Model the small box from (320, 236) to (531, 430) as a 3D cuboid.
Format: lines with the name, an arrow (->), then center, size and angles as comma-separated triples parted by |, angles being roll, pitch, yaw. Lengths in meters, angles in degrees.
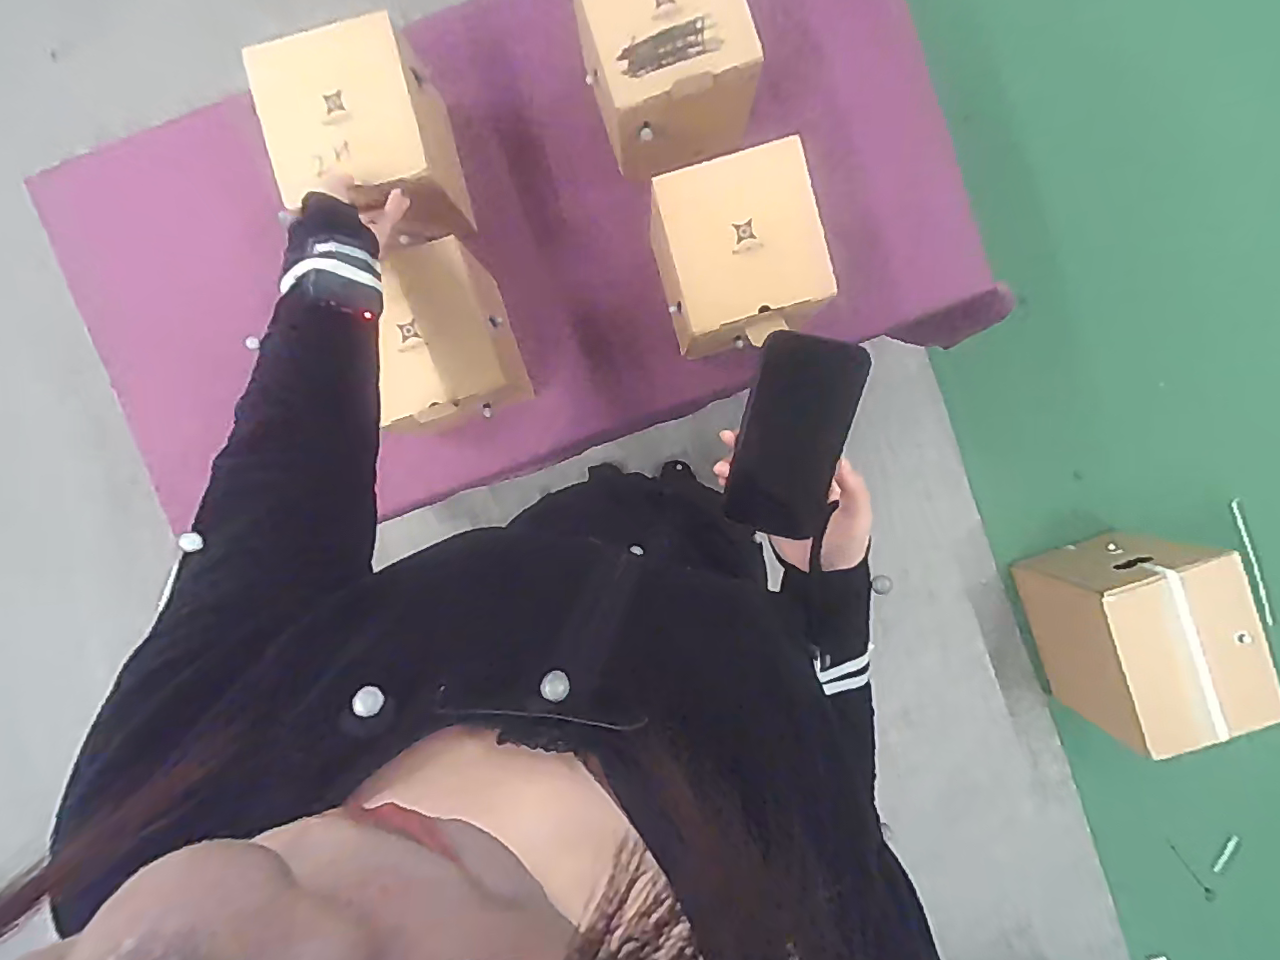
small box -> -0.250, -0.168, 0.677 | 0.168, 0.176, 0.179 | -17, 93, 2

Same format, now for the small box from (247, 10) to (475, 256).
small box -> -0.322, -0.403, 0.660 | 0.168, 0.176, 0.179 | -13, 94, 2

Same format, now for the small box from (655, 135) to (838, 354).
small box -> 0.116, -0.270, 0.662 | 0.168, 0.176, 0.179 | -15, 94, 2
